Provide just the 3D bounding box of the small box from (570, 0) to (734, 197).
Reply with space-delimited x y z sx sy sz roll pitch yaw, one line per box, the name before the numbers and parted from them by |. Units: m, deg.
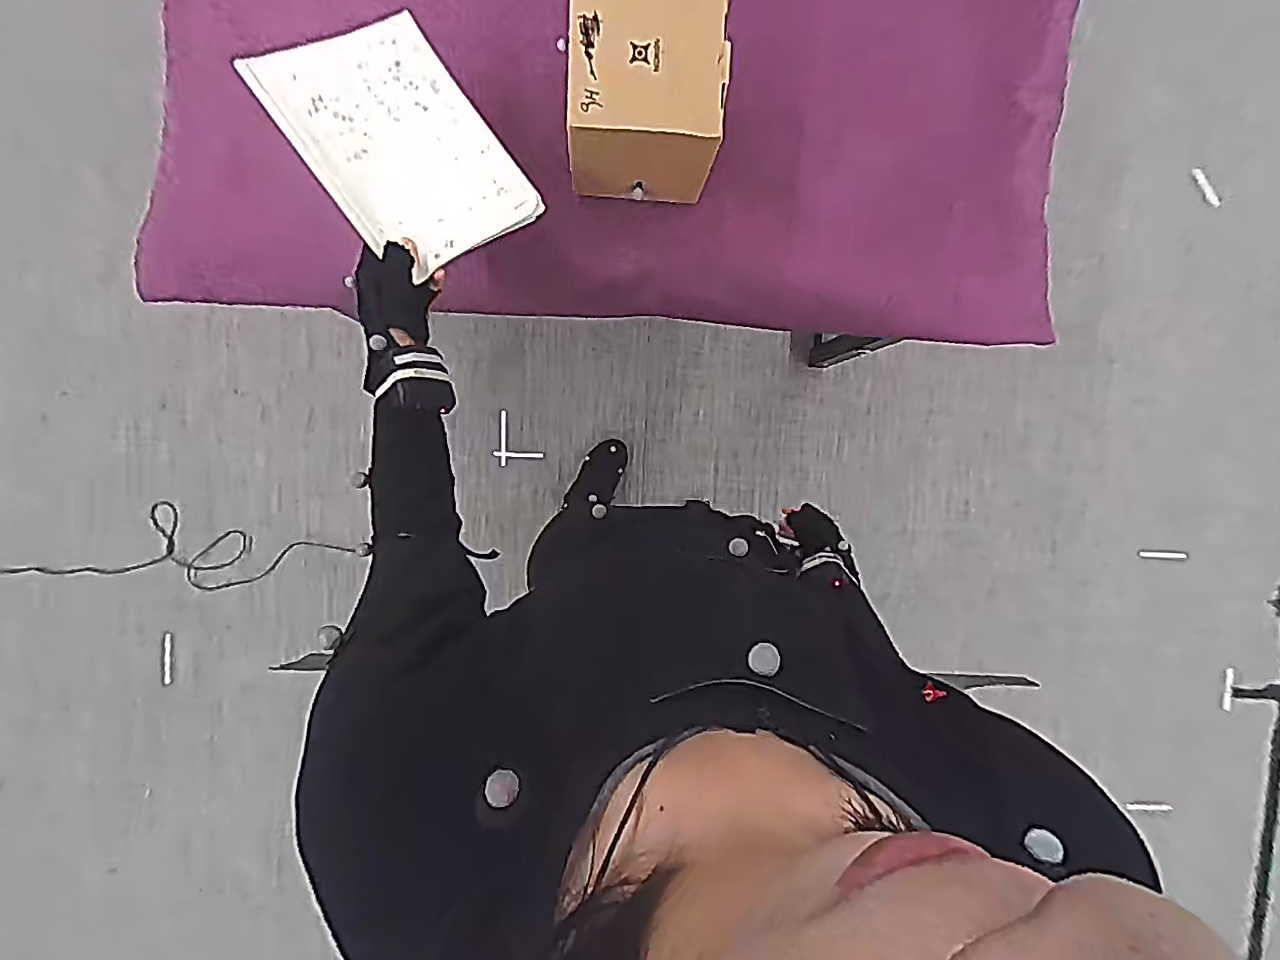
small box | 0.006 -0.471 0.665 0.179 0.176 0.168 2 93 -5
